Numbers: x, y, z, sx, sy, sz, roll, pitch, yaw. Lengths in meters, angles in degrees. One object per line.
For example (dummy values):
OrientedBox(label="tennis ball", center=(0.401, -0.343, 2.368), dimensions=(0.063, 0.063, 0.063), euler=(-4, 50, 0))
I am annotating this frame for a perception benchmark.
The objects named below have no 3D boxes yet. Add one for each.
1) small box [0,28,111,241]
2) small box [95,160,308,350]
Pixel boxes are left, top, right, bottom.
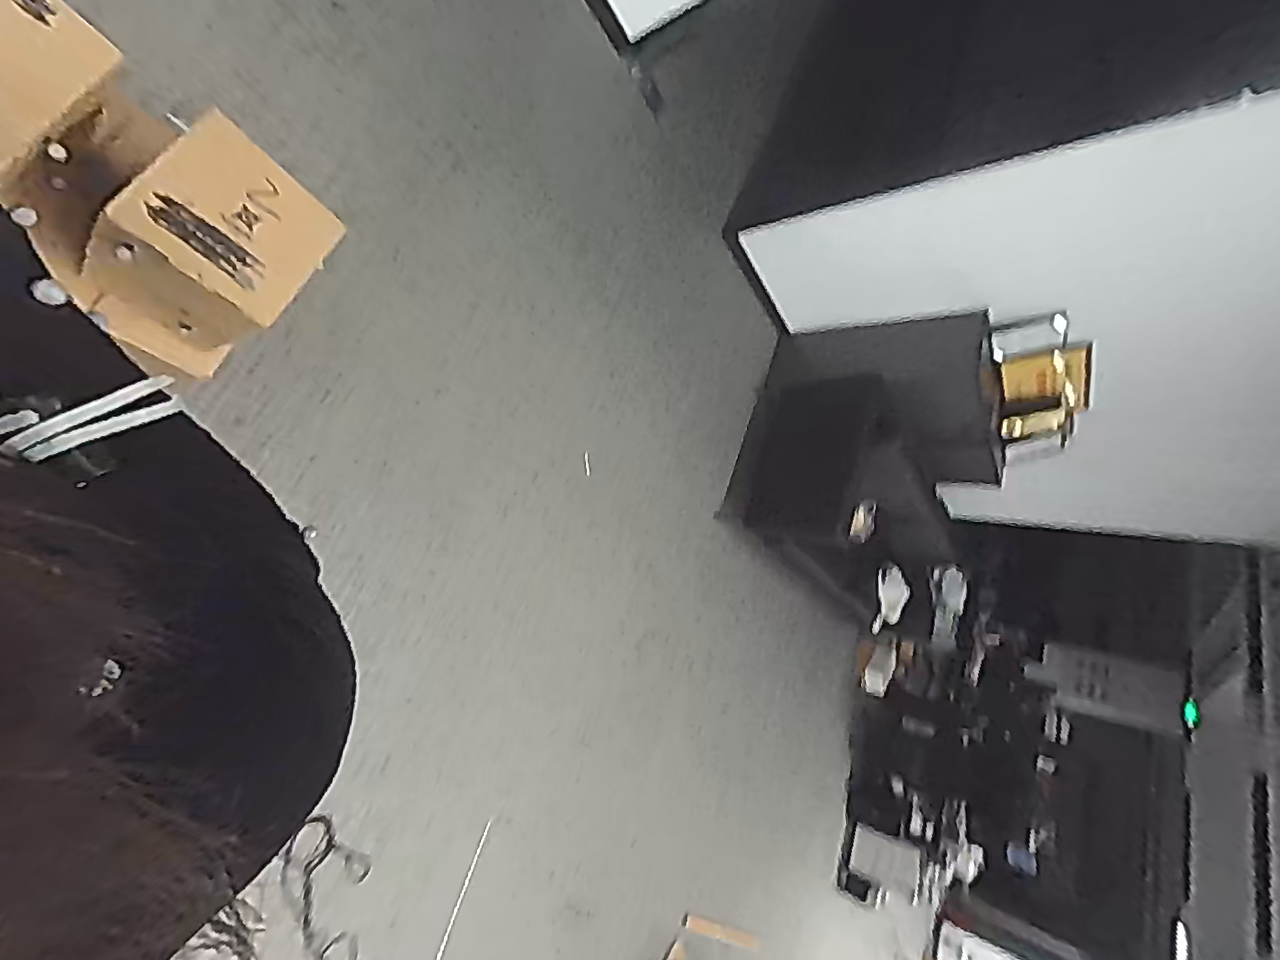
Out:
OrientedBox(label="small box", center=(-0.768, -0.407, 0.613), dimensions=(0.168, 0.176, 0.179), euler=(41, 65, -45))
OrientedBox(label="small box", center=(-0.632, -0.309, 0.782), dimensions=(0.168, 0.176, 0.179), euler=(43, 61, -42))
